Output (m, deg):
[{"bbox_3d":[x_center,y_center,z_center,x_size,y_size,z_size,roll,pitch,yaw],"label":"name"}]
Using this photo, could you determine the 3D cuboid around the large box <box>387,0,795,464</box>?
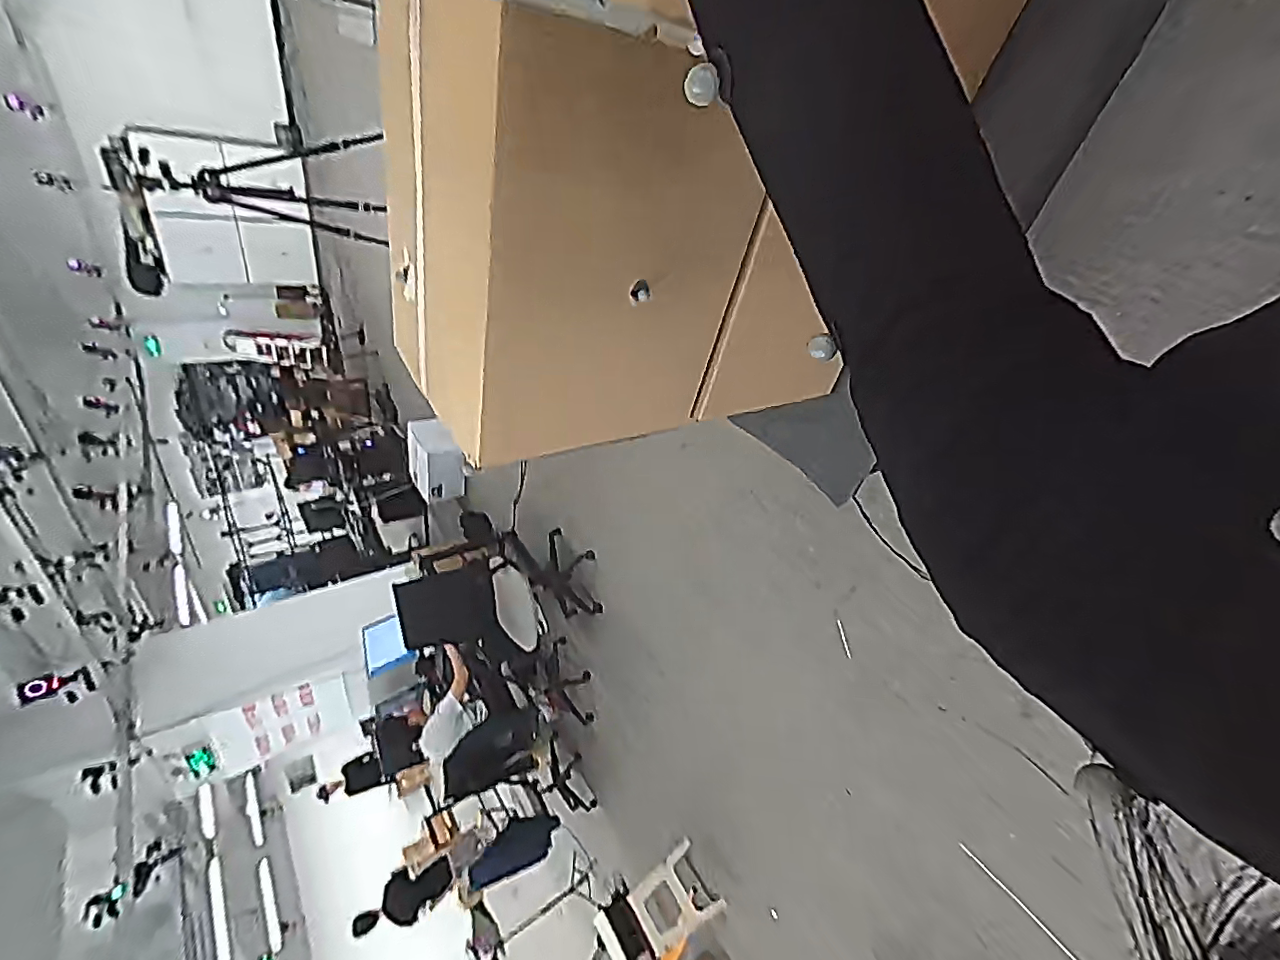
[{"bbox_3d":[-0.084,-0.292,0.646,0.320,0.320,0.408,48,138,35],"label":"large box"}]
